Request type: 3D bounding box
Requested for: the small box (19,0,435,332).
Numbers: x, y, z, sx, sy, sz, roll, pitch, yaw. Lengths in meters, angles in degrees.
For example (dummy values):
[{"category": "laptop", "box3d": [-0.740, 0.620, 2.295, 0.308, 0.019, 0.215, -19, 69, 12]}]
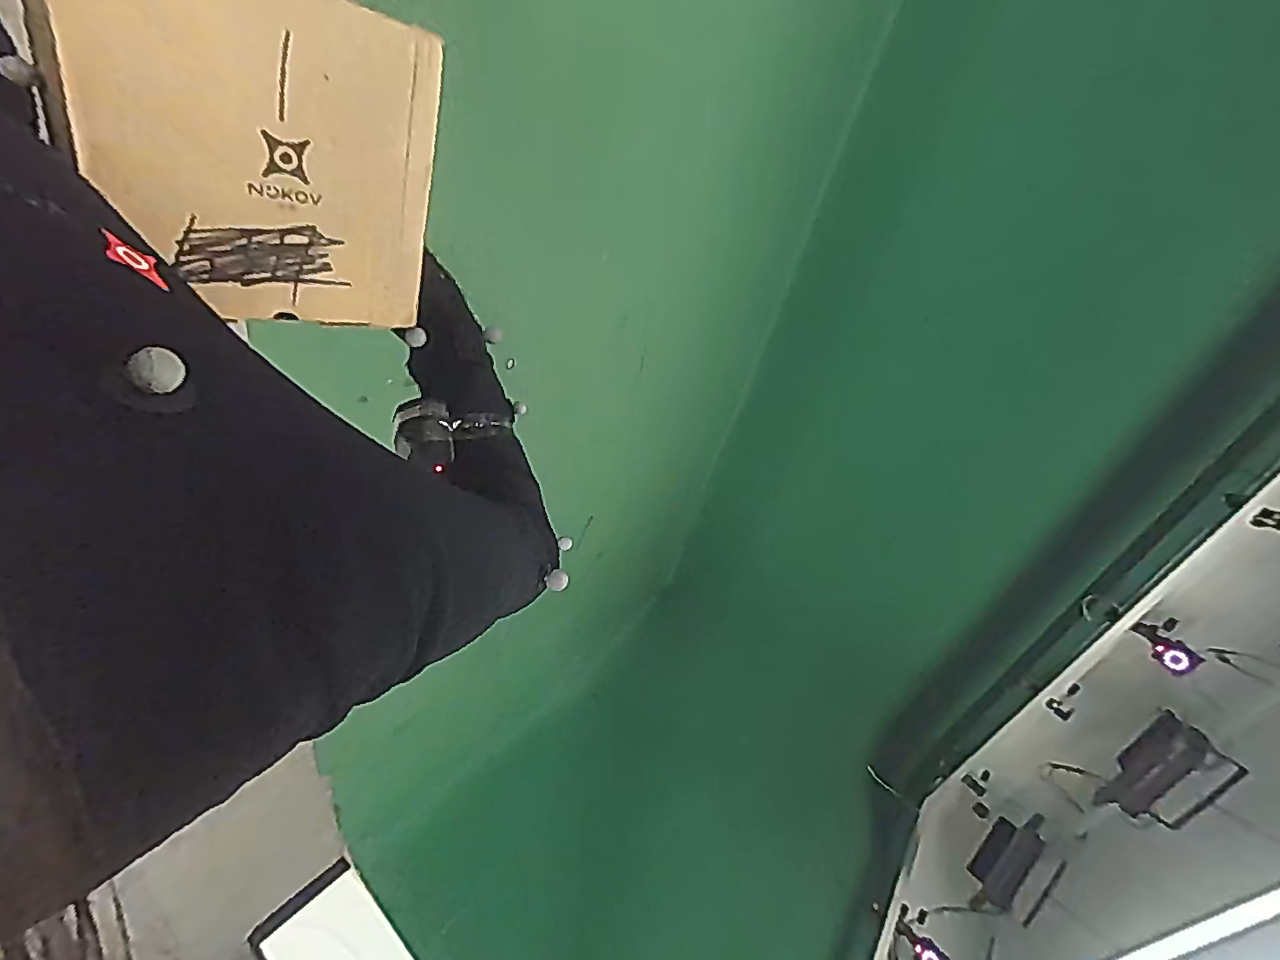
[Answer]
[{"category": "small box", "box3d": [-0.256, -0.213, 0.342, 0.168, 0.176, 0.179, -14, 134, -46]}]
